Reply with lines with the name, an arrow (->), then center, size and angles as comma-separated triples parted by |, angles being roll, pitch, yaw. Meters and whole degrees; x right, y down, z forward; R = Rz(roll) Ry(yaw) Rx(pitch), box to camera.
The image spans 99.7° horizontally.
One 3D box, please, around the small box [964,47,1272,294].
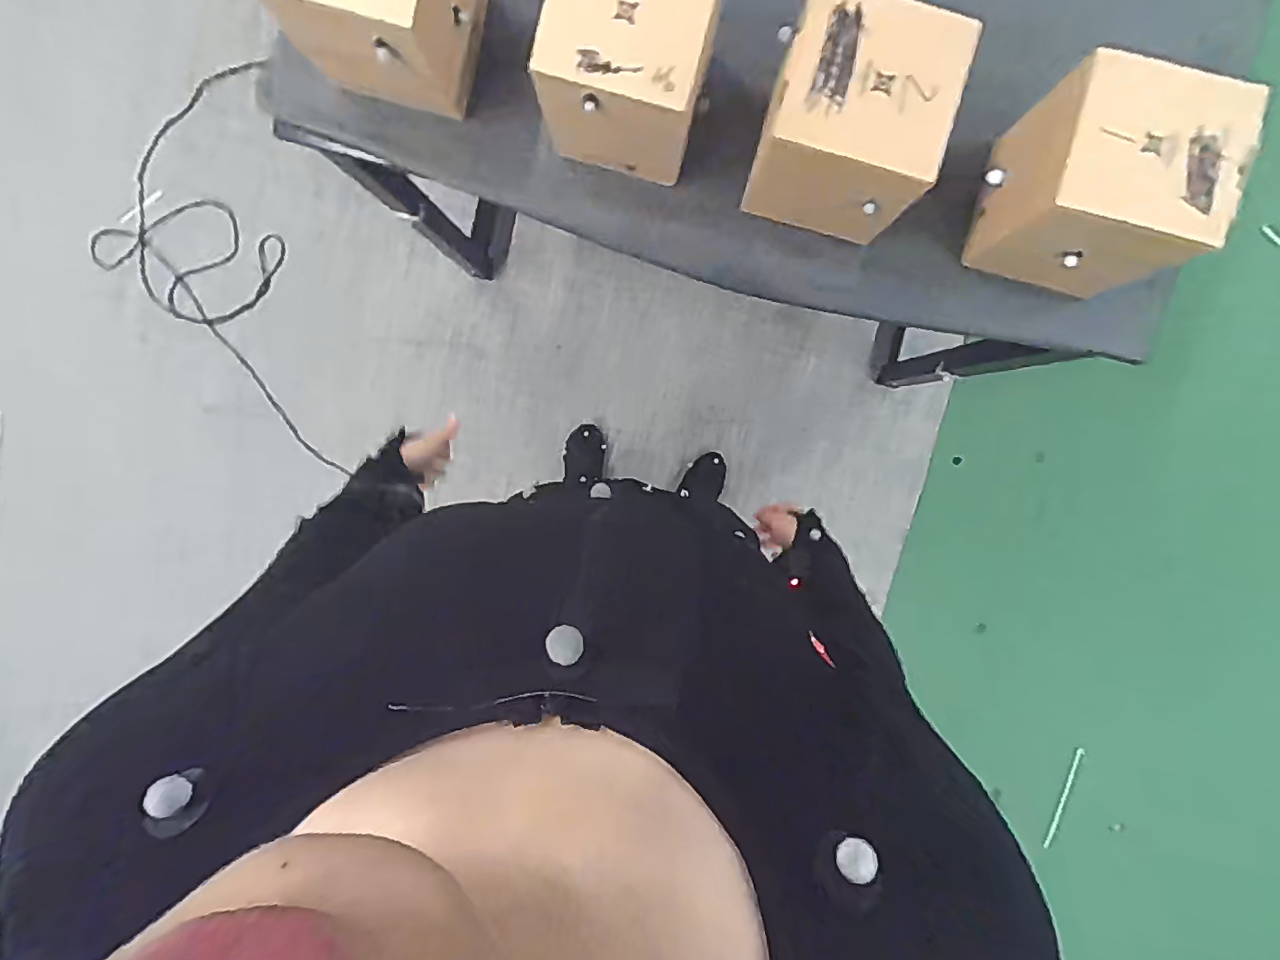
small box -> 0.520, -0.330, 0.617 | 0.179, 0.176, 0.168 | 16, 92, 1
